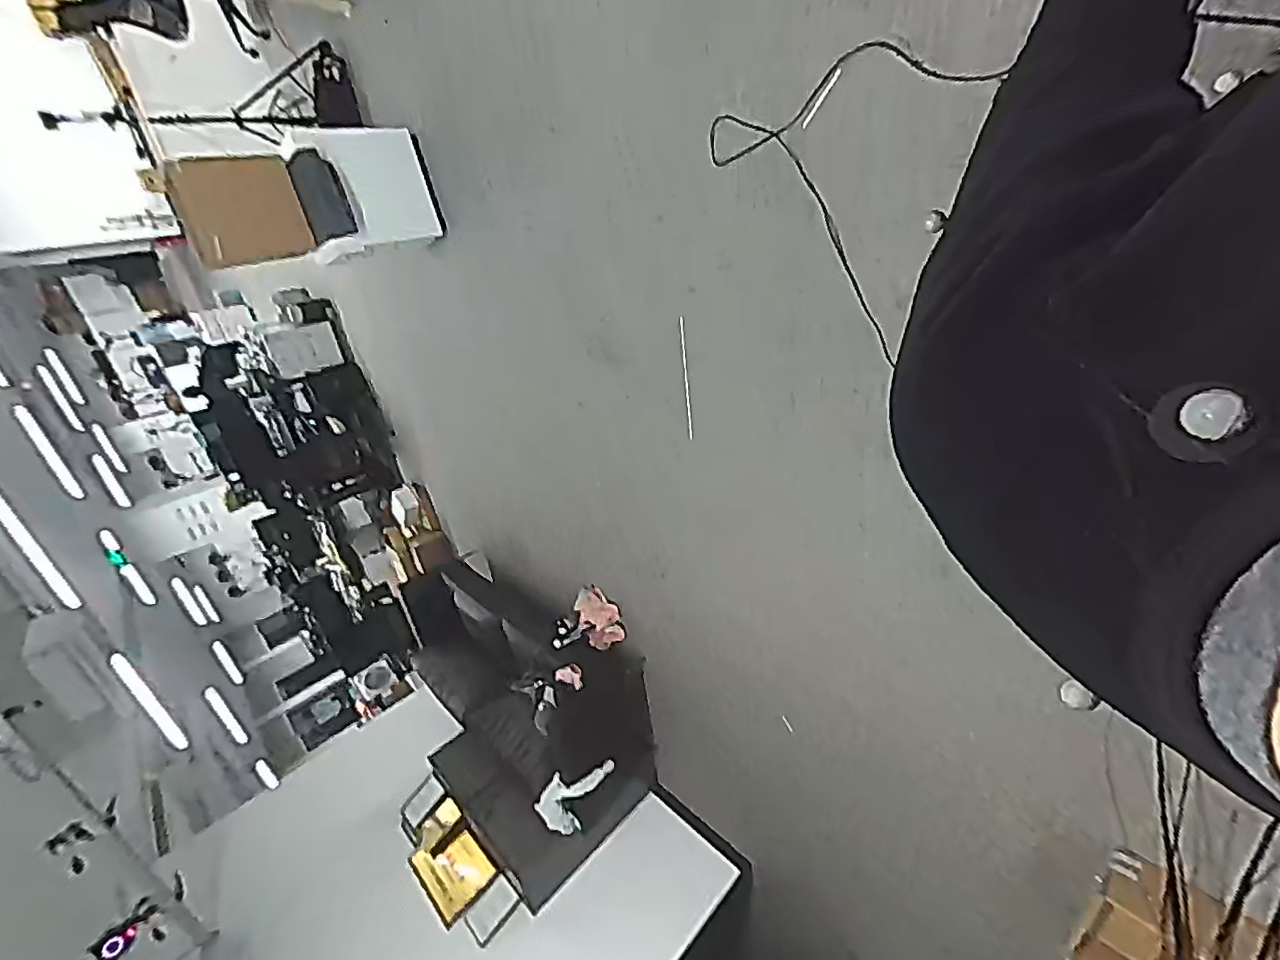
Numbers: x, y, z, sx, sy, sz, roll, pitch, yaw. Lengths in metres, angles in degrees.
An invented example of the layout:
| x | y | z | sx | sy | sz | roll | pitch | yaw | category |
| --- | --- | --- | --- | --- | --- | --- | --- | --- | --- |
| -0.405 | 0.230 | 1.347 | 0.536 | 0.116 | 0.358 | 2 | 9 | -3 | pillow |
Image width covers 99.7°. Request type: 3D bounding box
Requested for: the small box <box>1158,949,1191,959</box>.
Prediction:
| x | y | z | sx | sy | sz | roll | pitch | yaw | category |
| --- | --- | --- | --- | --- | --- | --- | --- | --- | --- |
| 1.507 | 1.450 | 1.471 | 0.168 | 0.176 | 0.179 | 22 | 128 | 41 | small box |
